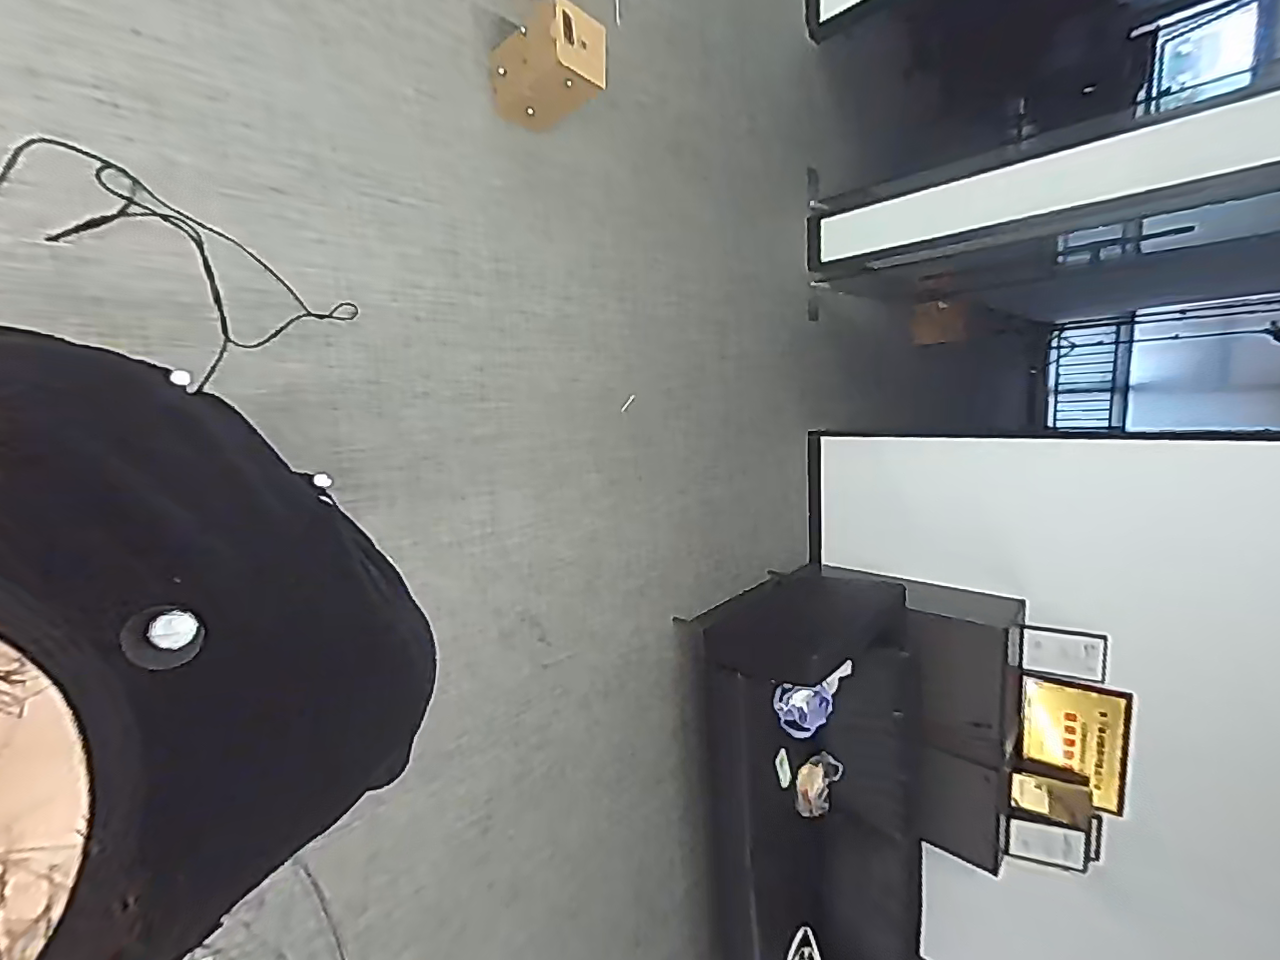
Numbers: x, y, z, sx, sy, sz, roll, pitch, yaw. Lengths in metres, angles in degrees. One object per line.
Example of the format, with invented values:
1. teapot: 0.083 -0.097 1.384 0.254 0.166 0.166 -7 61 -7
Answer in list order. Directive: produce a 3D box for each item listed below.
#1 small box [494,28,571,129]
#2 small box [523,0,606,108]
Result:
1. small box: -0.330 -1.197 1.631 0.179 0.176 0.168 -8 100 -44
2. small box: -0.215 -1.185 1.512 0.179 0.176 0.168 -6 99 -46
